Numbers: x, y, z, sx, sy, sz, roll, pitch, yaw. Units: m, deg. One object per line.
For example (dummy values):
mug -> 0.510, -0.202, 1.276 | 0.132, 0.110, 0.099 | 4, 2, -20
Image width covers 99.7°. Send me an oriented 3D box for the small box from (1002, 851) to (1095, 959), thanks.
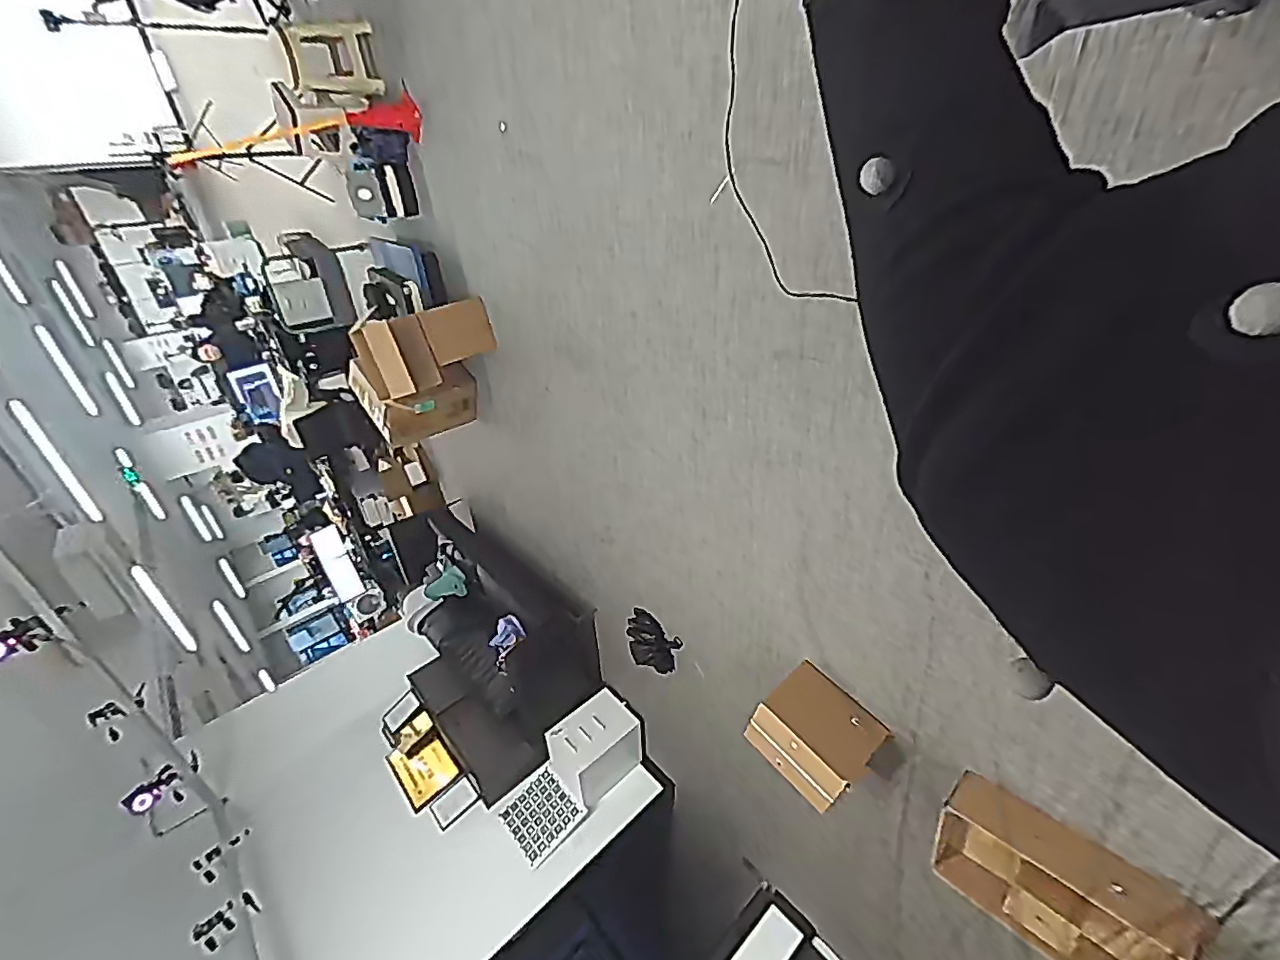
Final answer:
small box -> 1.272, 1.315, 1.682 | 0.179, 0.176, 0.168 | 25, 131, 45
